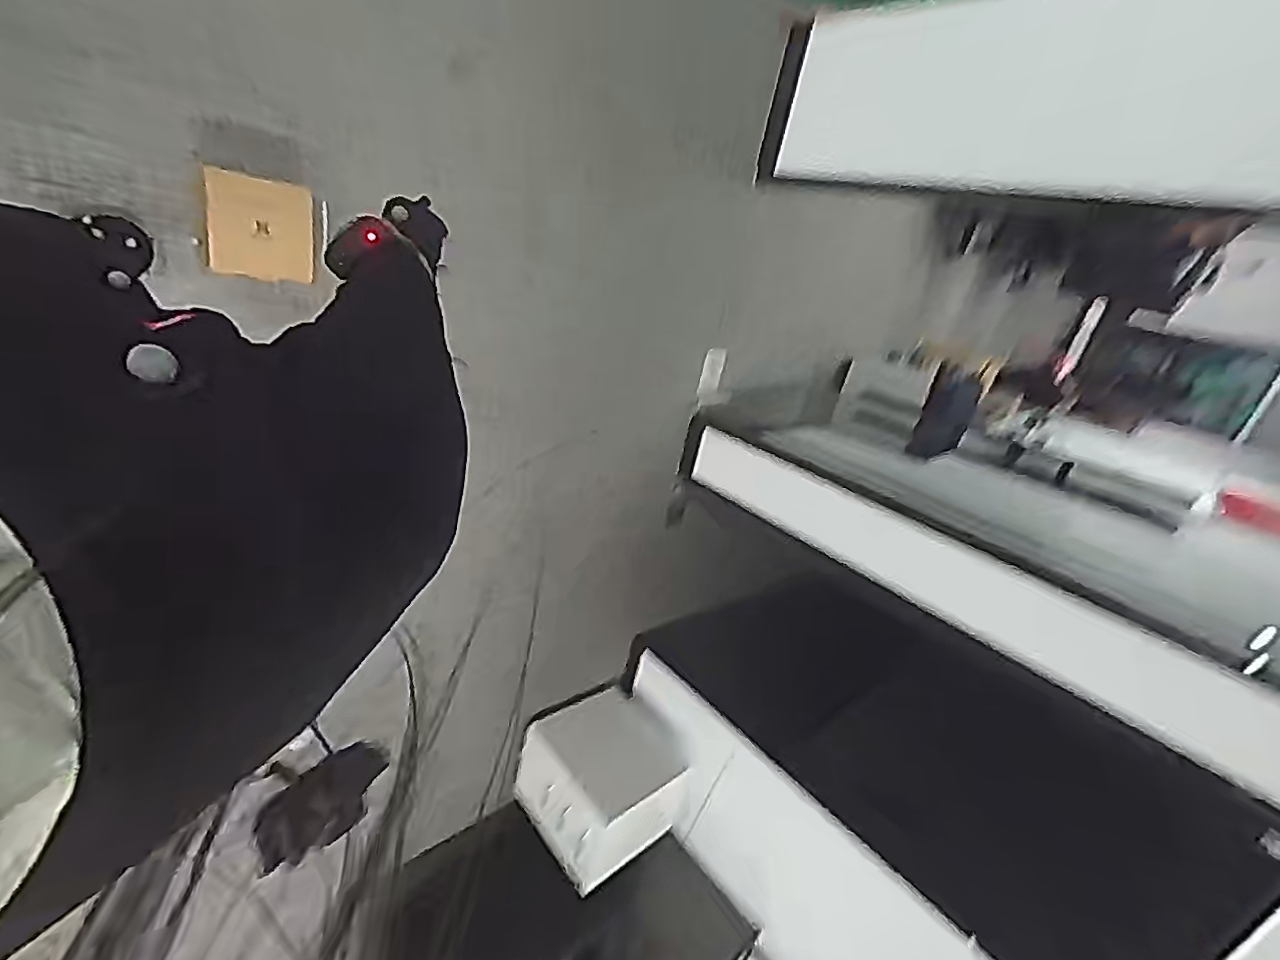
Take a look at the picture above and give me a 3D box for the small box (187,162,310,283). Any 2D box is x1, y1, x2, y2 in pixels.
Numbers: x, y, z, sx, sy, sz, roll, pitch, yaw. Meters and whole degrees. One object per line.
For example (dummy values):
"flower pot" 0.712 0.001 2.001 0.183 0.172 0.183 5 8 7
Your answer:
"small box" -0.756 -0.496 1.048 0.168 0.176 0.179 -9 119 -45
